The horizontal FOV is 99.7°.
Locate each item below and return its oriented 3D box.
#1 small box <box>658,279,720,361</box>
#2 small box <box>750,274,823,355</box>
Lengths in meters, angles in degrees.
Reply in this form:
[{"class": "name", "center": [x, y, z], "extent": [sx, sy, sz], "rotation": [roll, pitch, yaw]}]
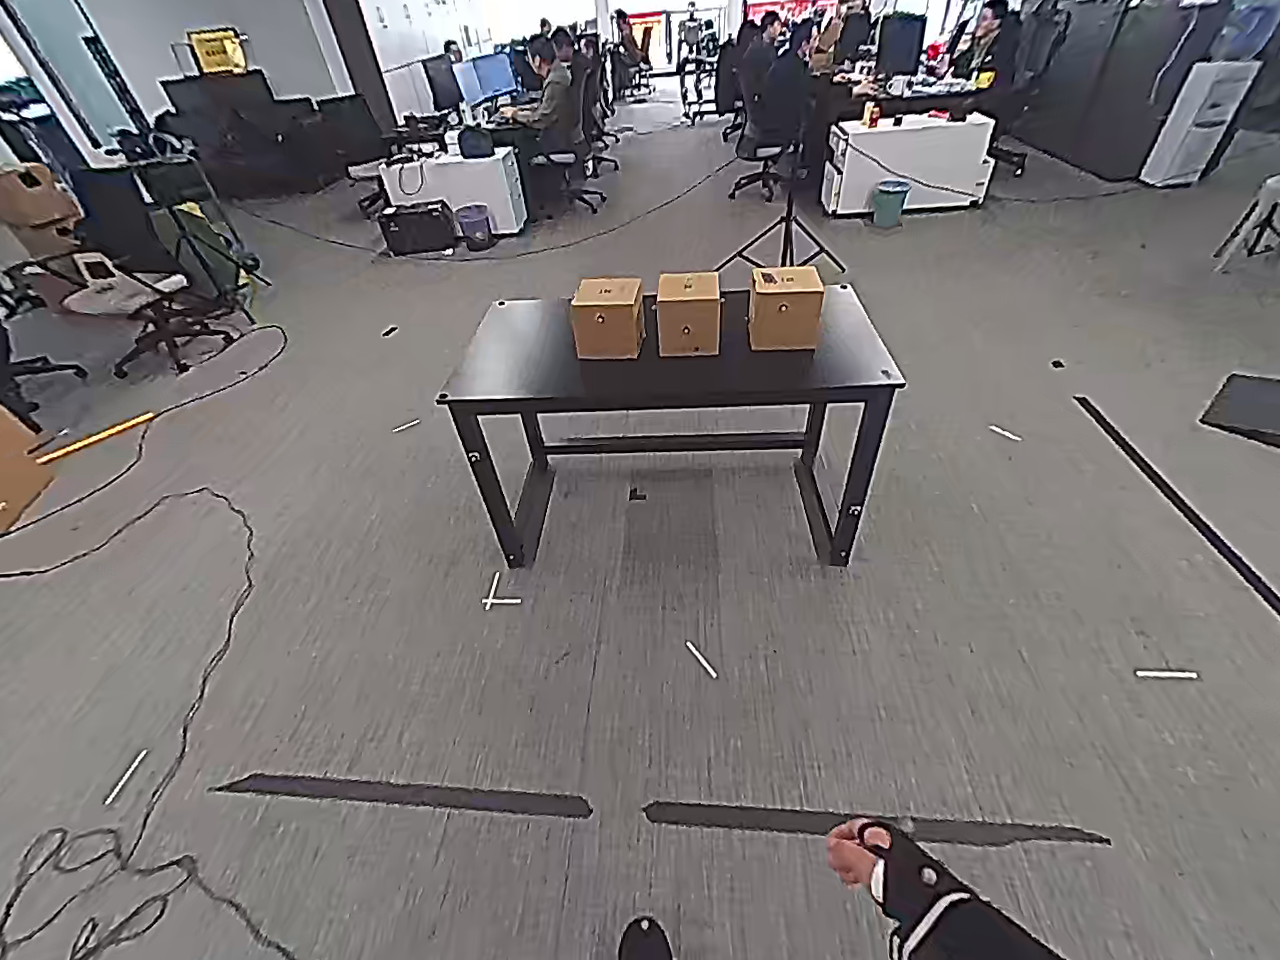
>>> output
[{"class": "small box", "center": [0.142, -0.450, 1.534], "extent": [0.168, 0.176, 0.179], "rotation": [0, 42, 6]}, {"class": "small box", "center": [0.402, -0.461, 1.515], "extent": [0.179, 0.176, 0.168], "rotation": [1, 42, 7]}]
